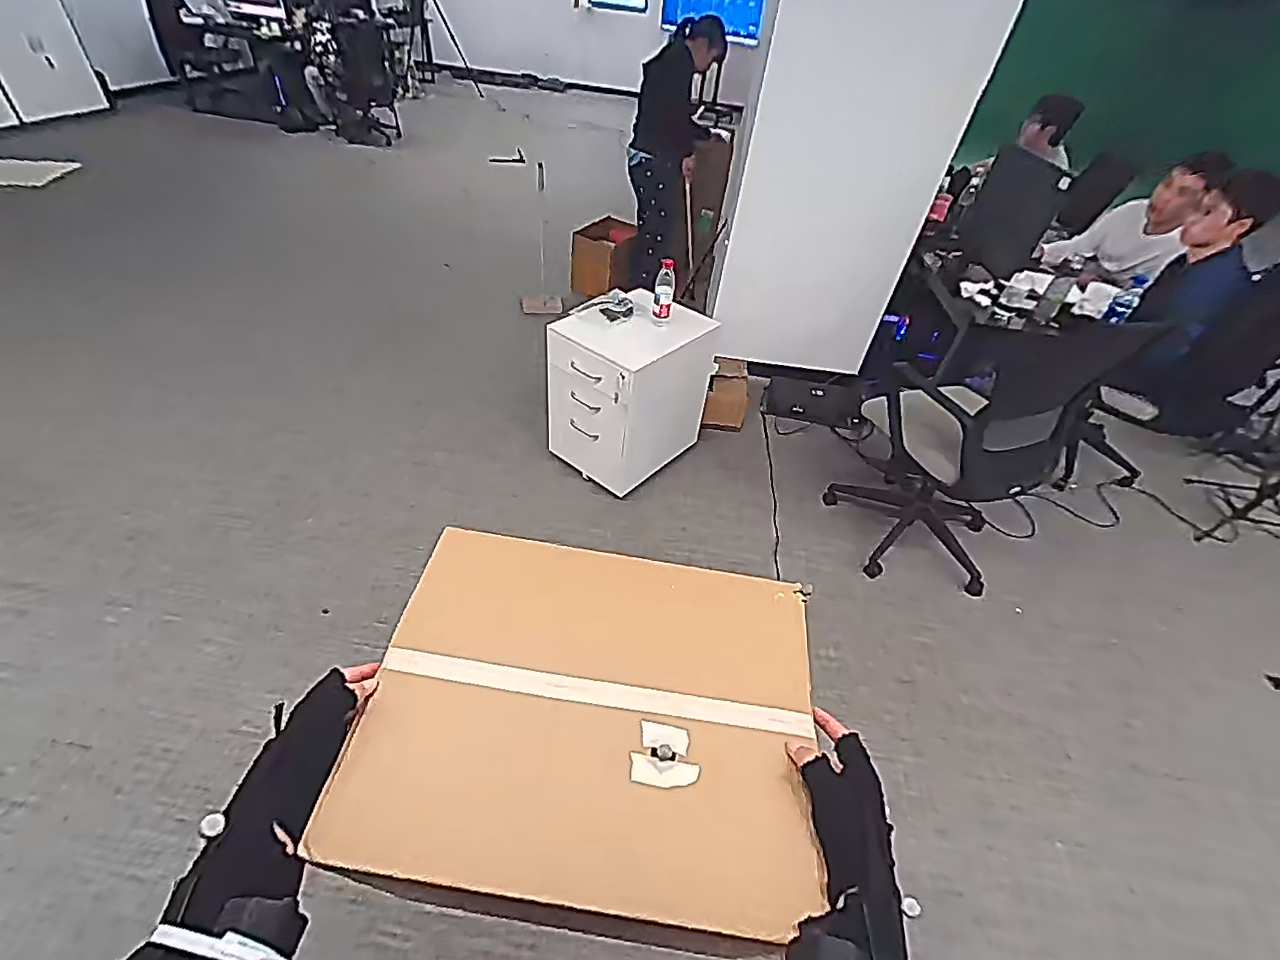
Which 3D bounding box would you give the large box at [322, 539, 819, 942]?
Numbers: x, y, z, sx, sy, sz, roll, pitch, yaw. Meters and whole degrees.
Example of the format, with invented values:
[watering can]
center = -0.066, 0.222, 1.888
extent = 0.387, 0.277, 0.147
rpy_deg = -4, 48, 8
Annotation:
[large box]
center = -0.054, 0.306, 0.629
extent = 0.408, 0.320, 0.320
rpy_deg = 9, 49, 1
